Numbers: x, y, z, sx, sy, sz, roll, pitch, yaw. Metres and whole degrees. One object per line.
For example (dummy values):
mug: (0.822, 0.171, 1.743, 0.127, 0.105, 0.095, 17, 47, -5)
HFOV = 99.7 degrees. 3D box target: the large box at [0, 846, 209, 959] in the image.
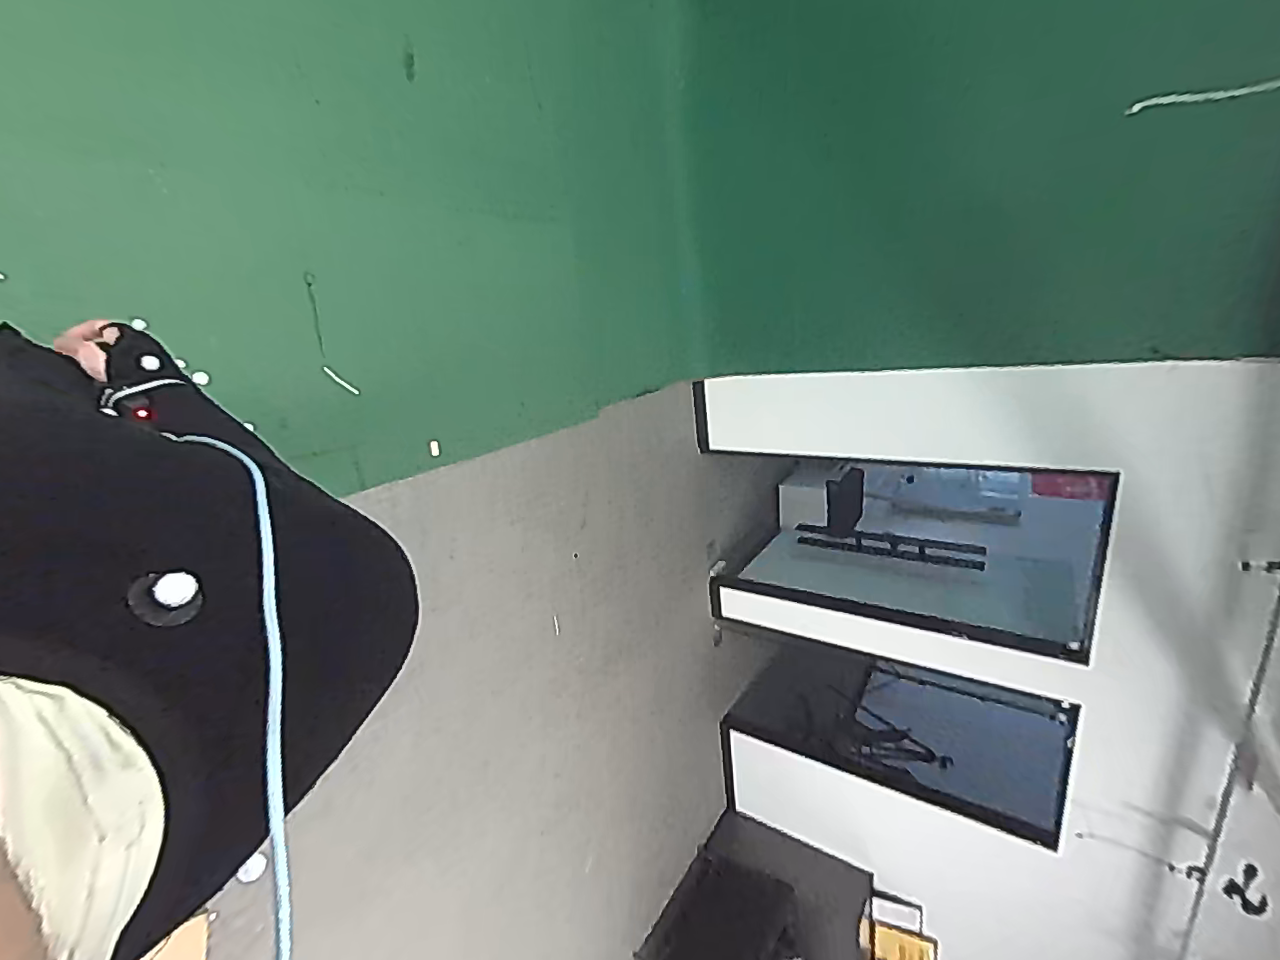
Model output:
large box: (-1.201, 1.072, 1.121, 0.408, 0.320, 0.320, 3, 92, -56)
